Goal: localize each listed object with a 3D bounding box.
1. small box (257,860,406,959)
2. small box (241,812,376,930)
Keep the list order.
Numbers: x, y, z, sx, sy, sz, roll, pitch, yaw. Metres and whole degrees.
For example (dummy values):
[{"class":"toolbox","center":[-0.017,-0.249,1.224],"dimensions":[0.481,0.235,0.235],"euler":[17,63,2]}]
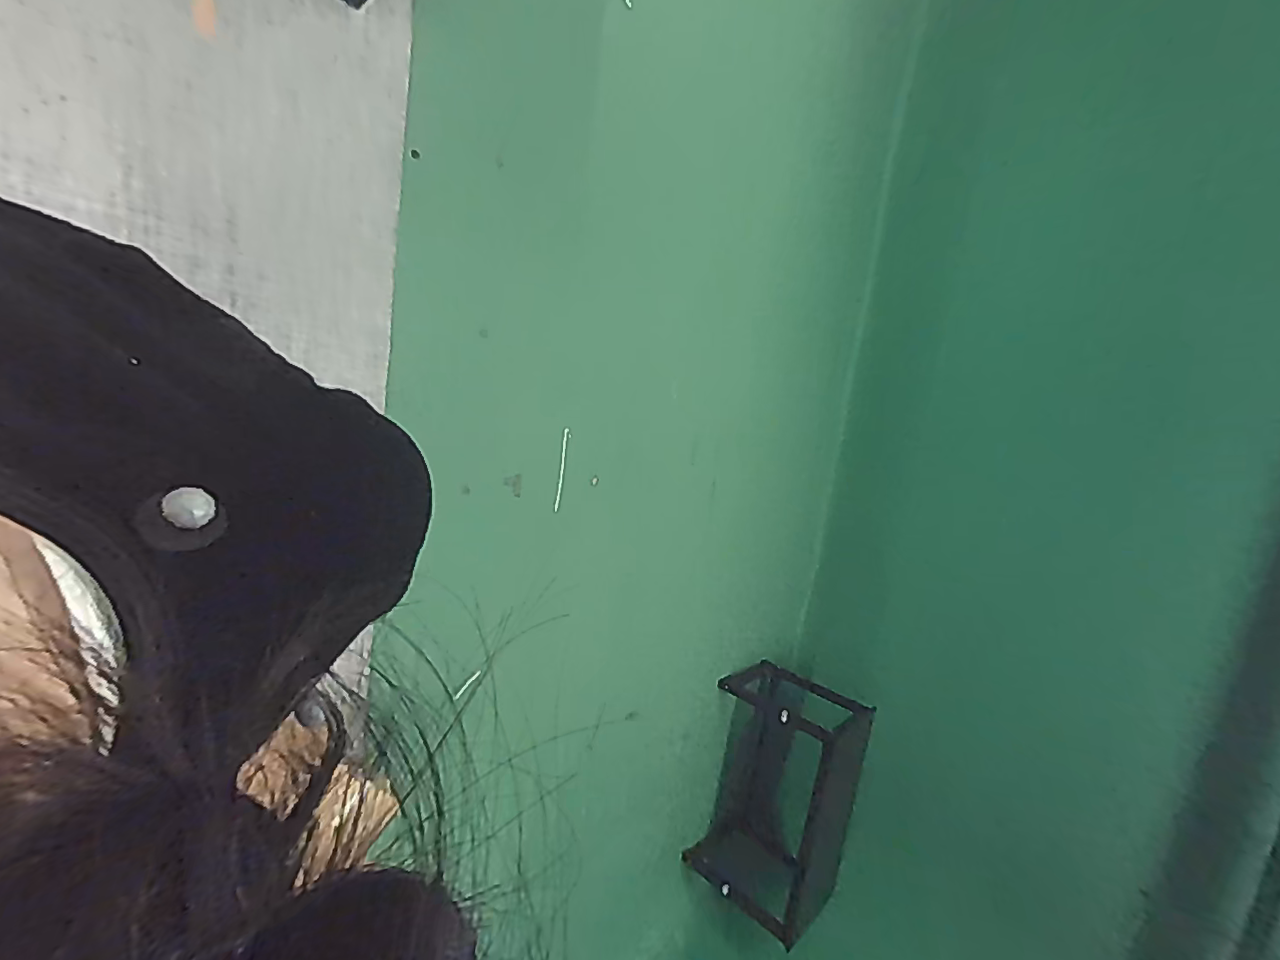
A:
[{"class":"small box","center":[-0.619,0.916,1.090],"dimensions":[0.168,0.176,0.179],"euler":[-48,132,-29]},{"class":"small box","center":[-0.734,0.885,1.201],"dimensions":[0.168,0.176,0.179],"euler":[-45,131,-31]}]
